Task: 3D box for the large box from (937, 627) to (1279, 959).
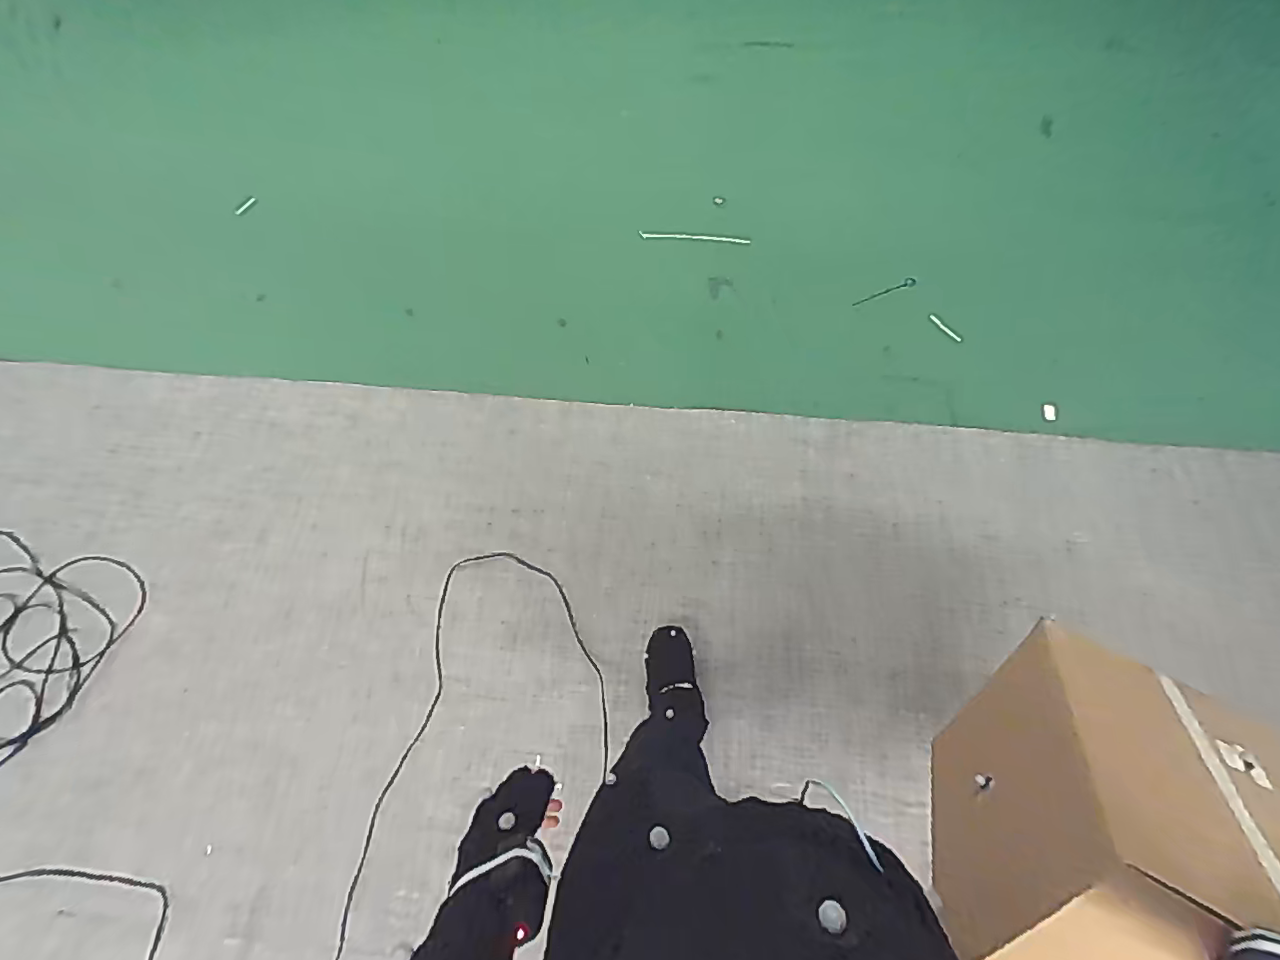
[{"bbox_3d":[0.609,0.477,0.677,0.320,0.320,0.408,28,30,15],"label":"large box"}]
